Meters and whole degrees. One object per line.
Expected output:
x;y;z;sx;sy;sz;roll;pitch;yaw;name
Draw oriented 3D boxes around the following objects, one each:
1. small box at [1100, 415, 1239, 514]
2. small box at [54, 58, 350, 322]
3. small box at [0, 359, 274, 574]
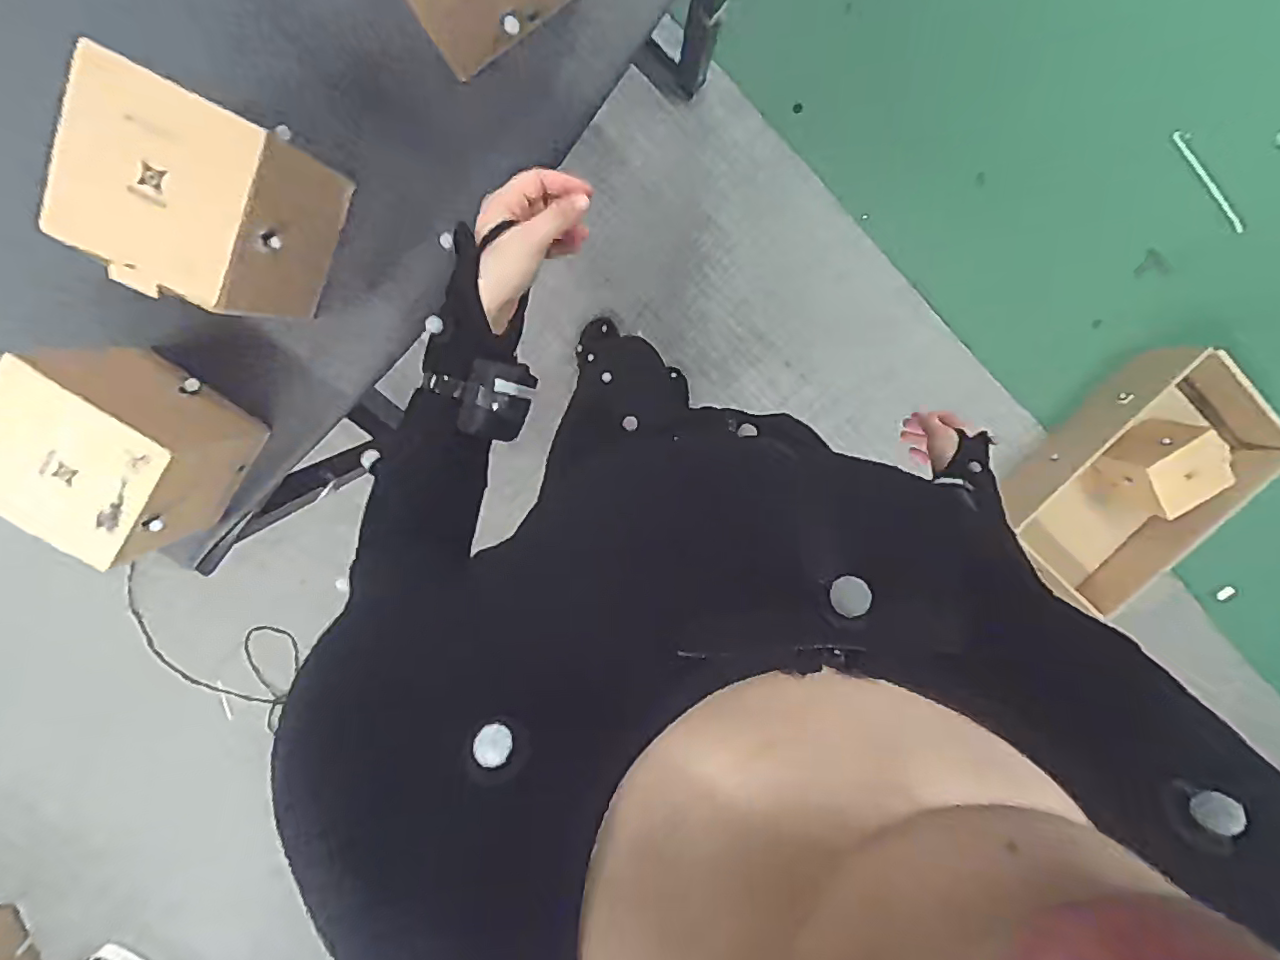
1.335;-0.045;1.380;0.179;0.176;0.168;-36;103;9;small box
-0.446;-0.283;0.580;0.168;0.176;0.179;24;102;-8;small box
-0.595;-0.026;0.640;0.179;0.176;0.168;35;101;-9;small box
